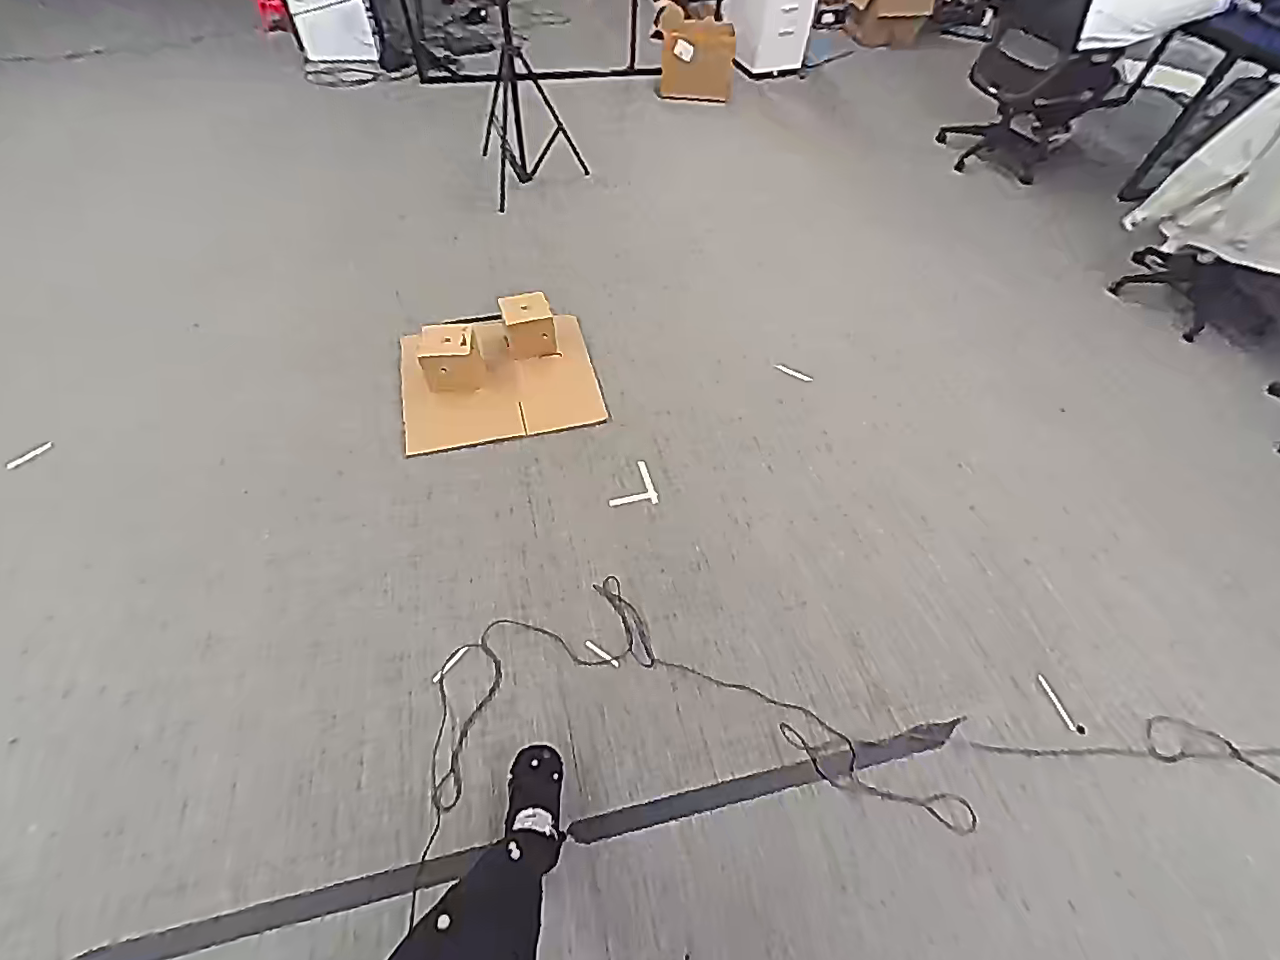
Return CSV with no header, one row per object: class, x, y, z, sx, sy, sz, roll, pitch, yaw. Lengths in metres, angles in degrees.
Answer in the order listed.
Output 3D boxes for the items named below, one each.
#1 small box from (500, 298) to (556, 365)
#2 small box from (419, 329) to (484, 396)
small box,-0.424,-0.568,2.070,0.179,0.176,0.168,-15,56,-14
small box,-0.673,-0.419,1.946,0.179,0.176,0.168,-4,55,-5
